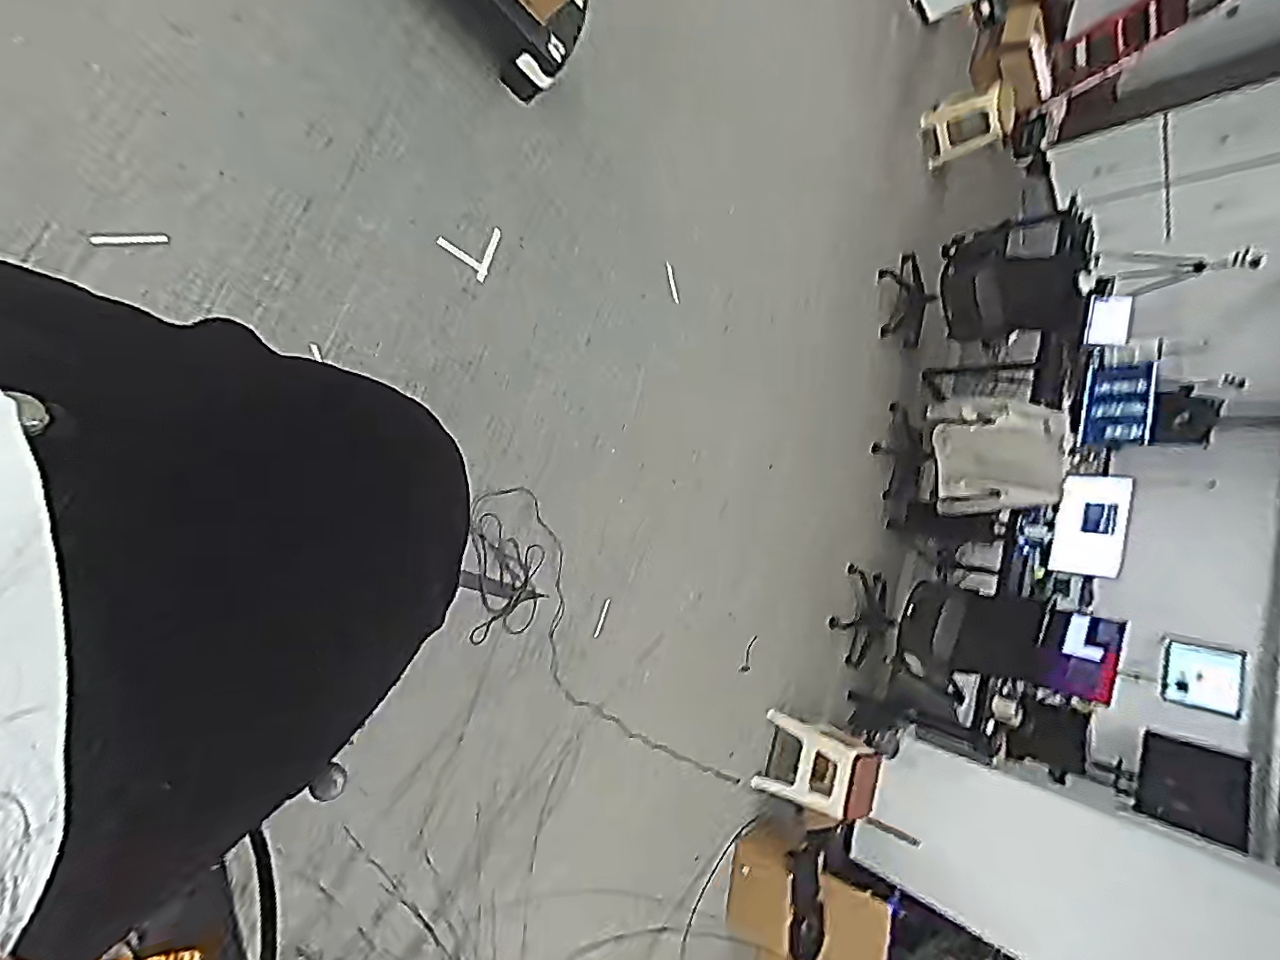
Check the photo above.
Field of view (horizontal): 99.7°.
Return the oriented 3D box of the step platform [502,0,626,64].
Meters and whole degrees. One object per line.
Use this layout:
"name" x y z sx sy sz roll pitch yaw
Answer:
"step platform" -0.326 -1.356 1.239 0.684 0.204 0.286 26 76 -42
